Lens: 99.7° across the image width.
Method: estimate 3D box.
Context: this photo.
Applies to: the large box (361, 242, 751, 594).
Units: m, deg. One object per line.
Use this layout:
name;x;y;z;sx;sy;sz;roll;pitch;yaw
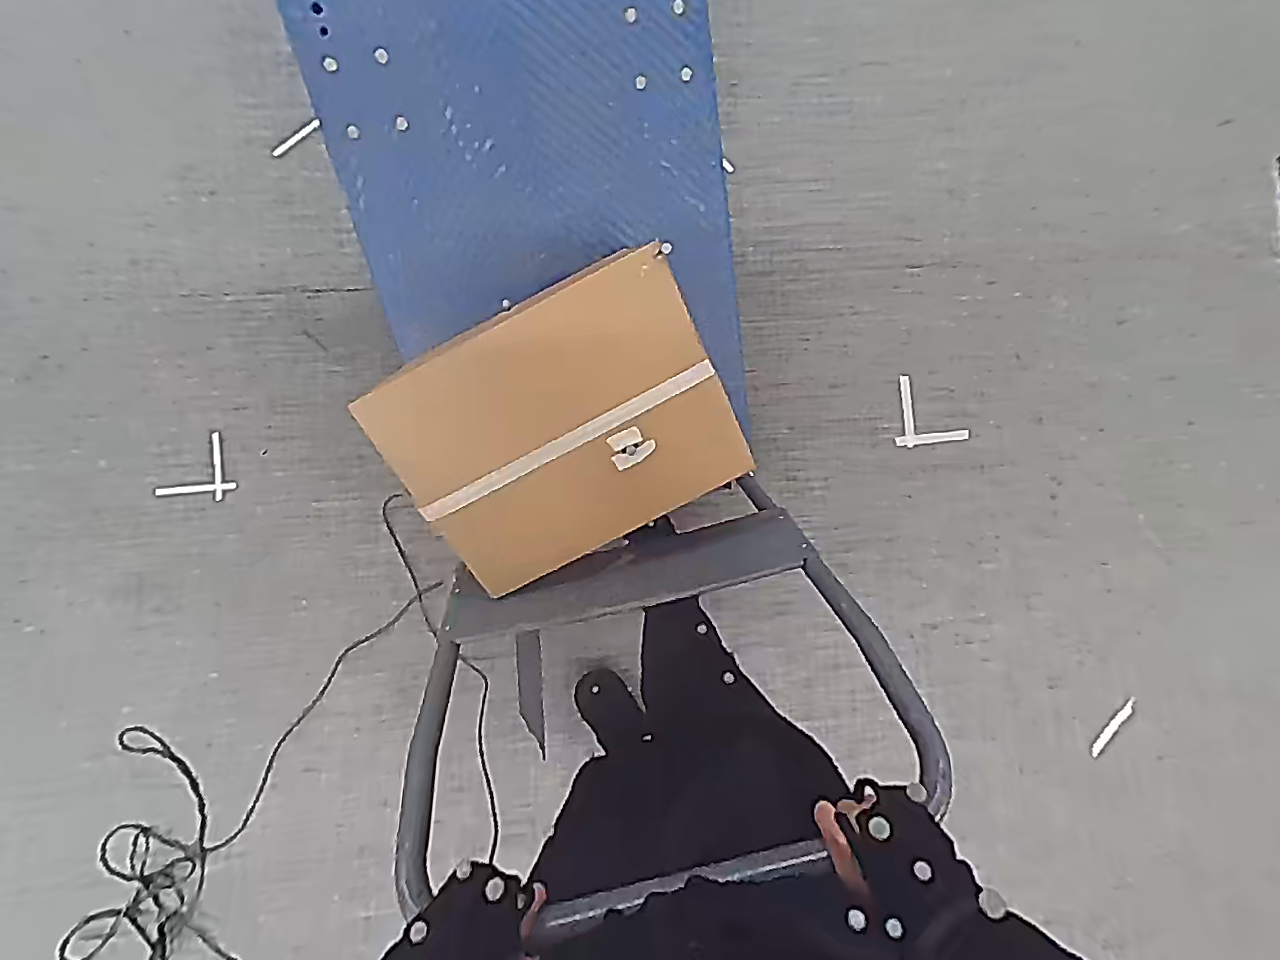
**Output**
large box;-0.112;-0.107;0.816;0.408;0.320;0.320;-28;114;2
